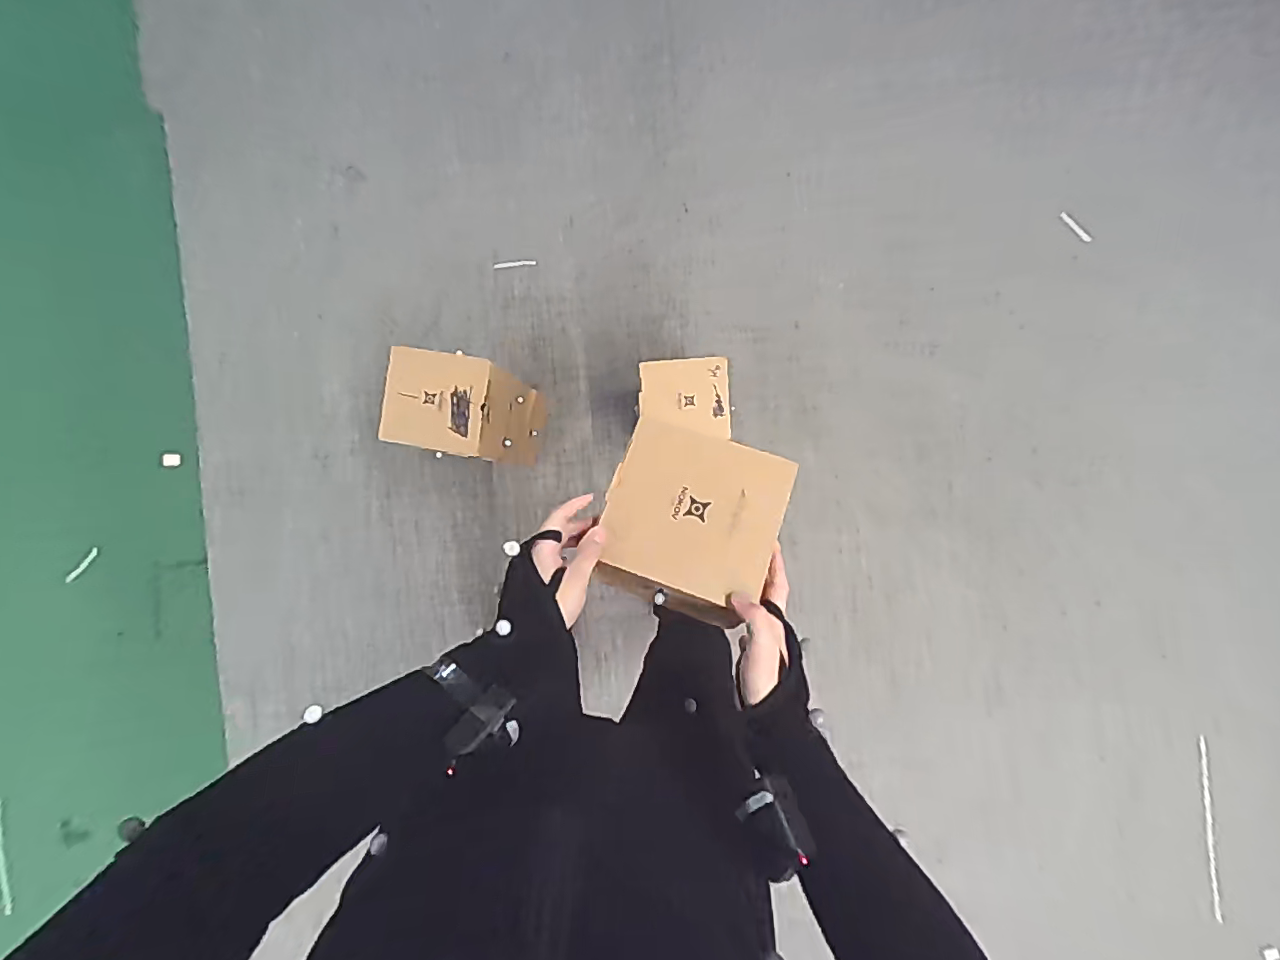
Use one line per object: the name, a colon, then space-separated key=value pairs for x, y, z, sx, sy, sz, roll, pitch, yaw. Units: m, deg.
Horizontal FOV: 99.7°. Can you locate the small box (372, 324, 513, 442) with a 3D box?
small box: x=-0.341 y=-0.164 z=0.968 sx=0.179 sy=0.176 sz=0.168 roll=11 pitch=92 yaw=2

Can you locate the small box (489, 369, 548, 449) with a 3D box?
small box: x=-0.331 y=-0.178 z=1.295 sx=0.168 sy=0.176 sz=0.179 roll=17 pitch=92 yaw=0

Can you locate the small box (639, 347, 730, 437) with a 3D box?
small box: x=0.092 y=-0.175 z=1.119 sx=0.179 sy=0.176 sz=0.168 roll=-1 pitch=92 yaw=3
